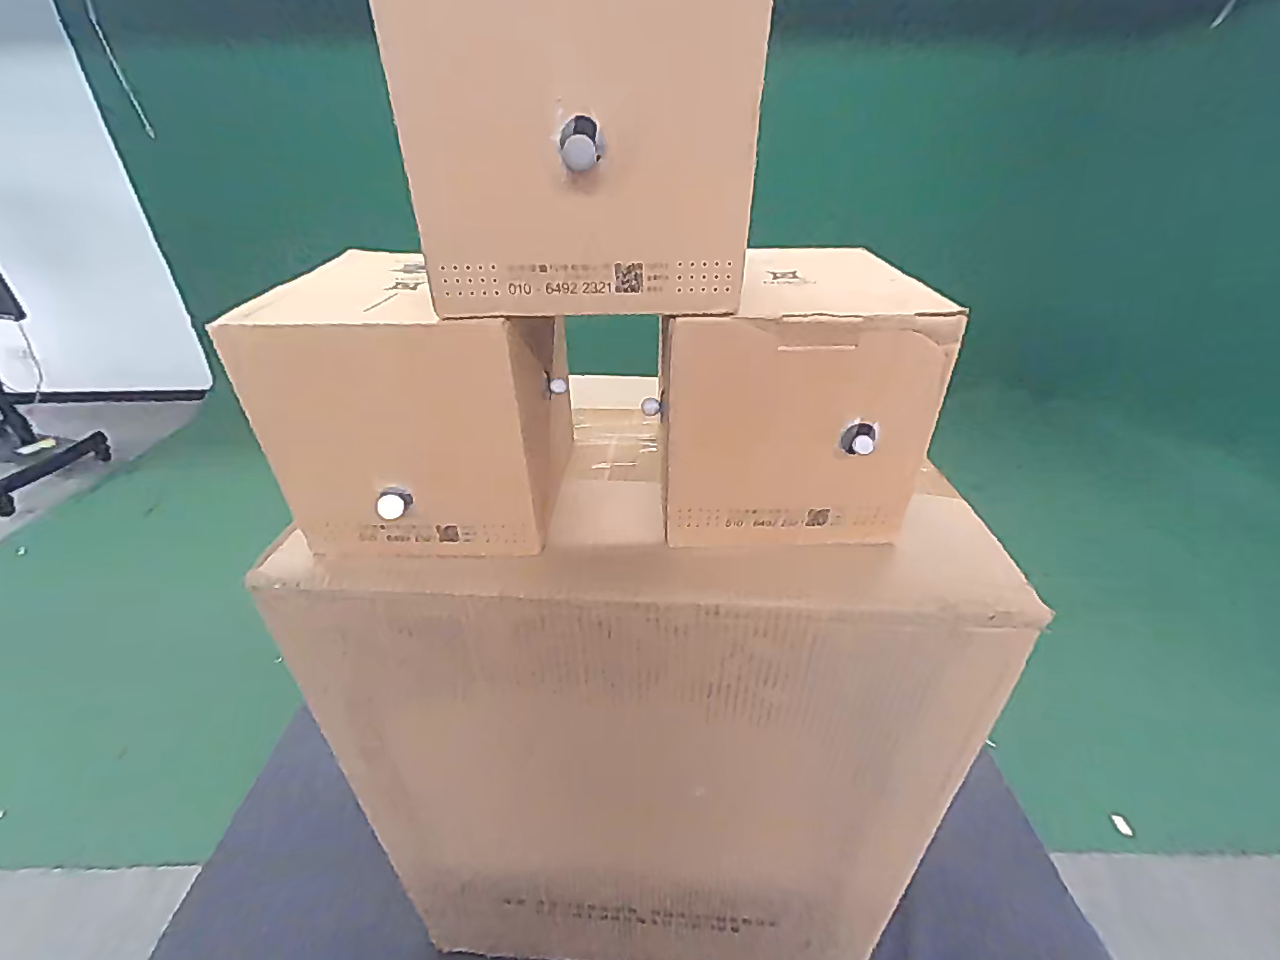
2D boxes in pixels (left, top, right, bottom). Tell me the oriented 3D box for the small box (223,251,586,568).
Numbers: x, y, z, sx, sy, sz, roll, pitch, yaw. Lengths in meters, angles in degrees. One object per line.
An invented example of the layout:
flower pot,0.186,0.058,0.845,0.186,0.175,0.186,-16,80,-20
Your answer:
small box,-0.135,-0.059,0.393,0.168,0.176,0.179,2,35,4

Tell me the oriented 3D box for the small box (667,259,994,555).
small box,0.110,-0.059,0.404,0.168,0.176,0.179,1,34,-3
